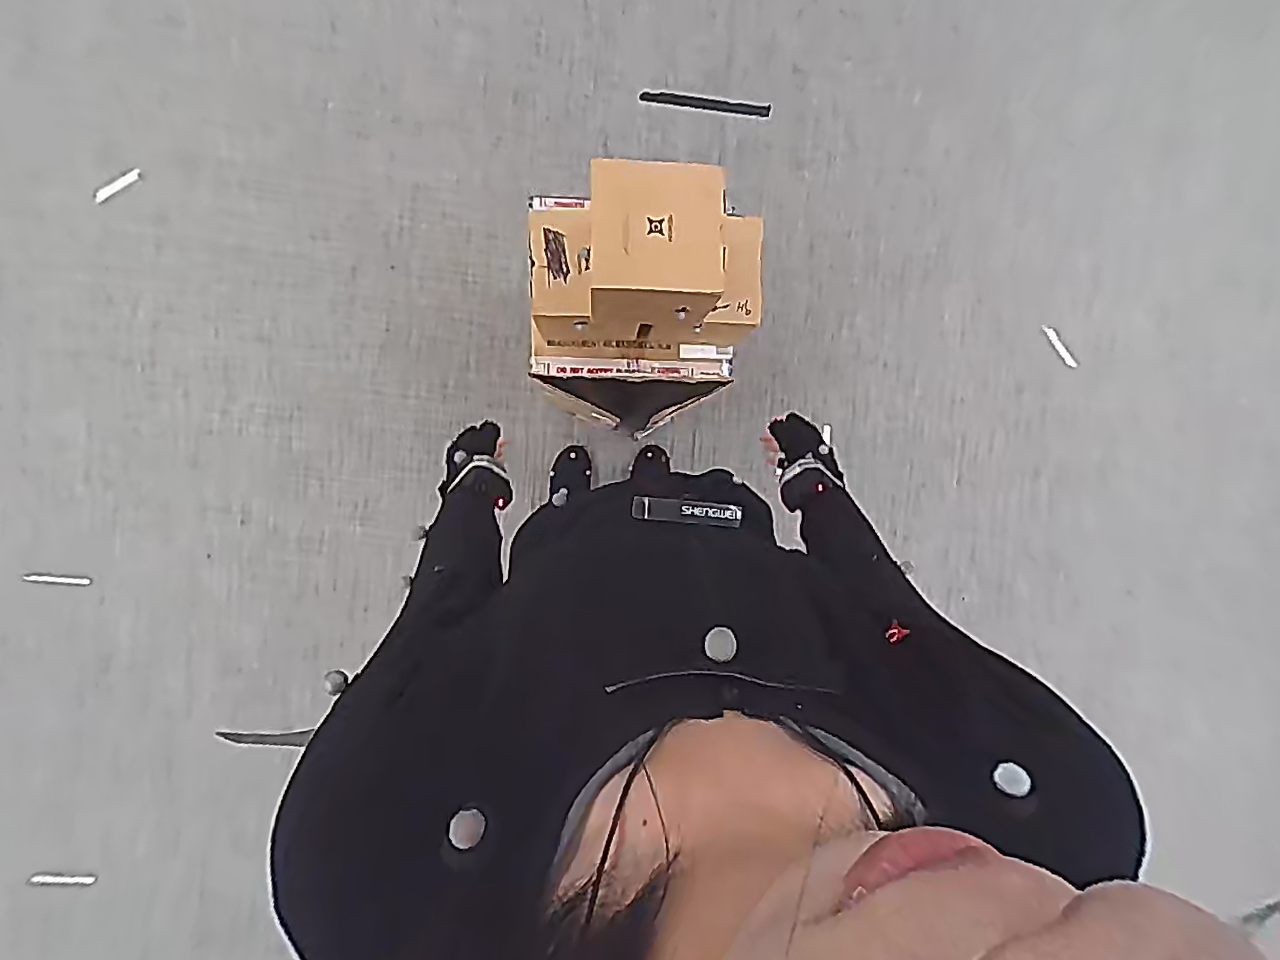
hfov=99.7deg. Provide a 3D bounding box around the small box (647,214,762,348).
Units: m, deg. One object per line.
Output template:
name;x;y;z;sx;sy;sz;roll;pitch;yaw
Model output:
small box;0.104;-0.339;0.938;0.168;0.176;0.179;2;91;-7

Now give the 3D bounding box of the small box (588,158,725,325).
small box;0.015;-0.323;0.765;0.179;0.176;0.168;0;91;-5

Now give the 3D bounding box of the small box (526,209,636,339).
small box;-0.092;-0.339;0.919;0.179;0.176;0.168;-2;92;-4
